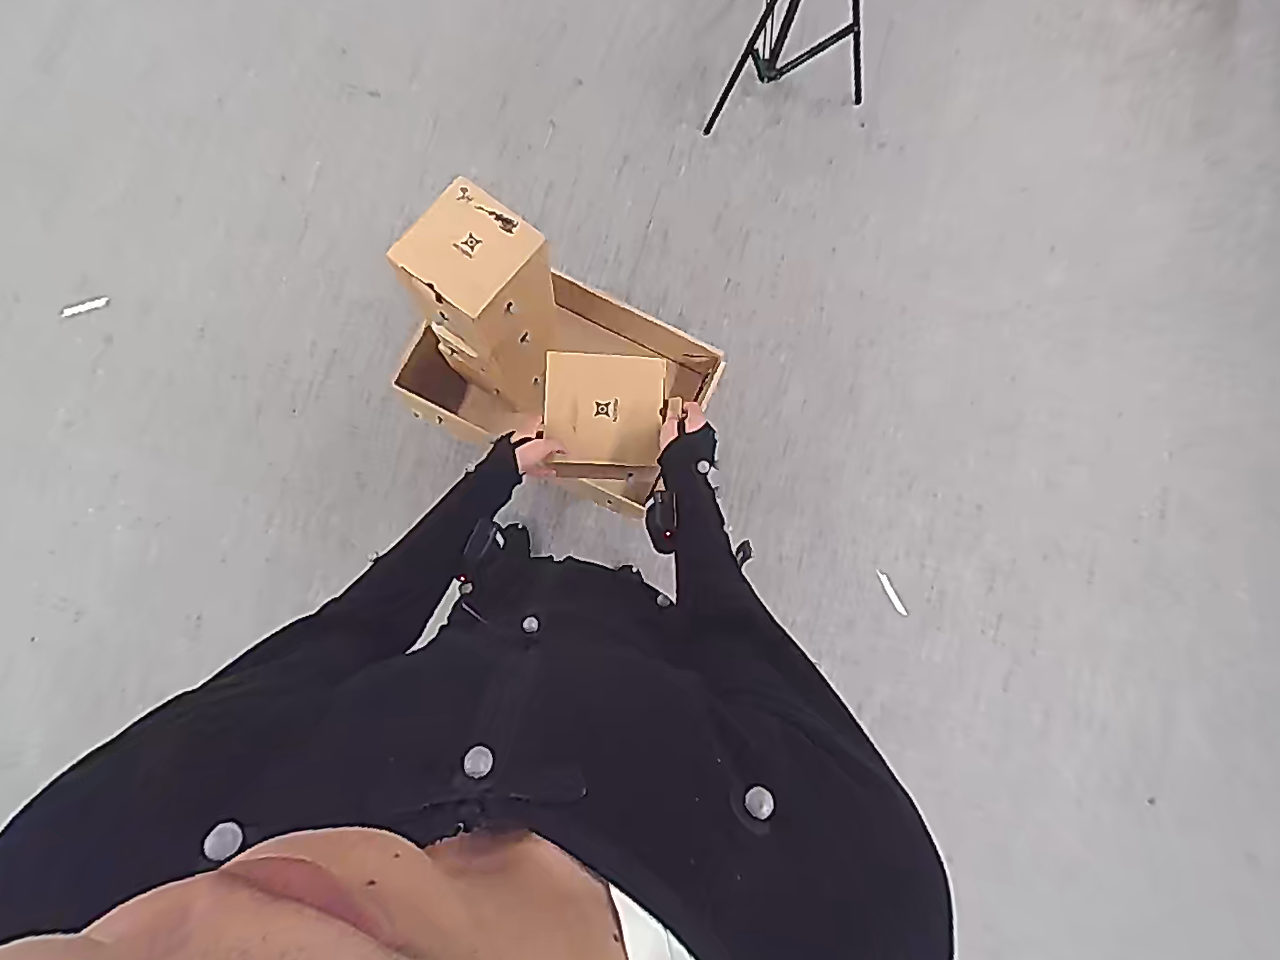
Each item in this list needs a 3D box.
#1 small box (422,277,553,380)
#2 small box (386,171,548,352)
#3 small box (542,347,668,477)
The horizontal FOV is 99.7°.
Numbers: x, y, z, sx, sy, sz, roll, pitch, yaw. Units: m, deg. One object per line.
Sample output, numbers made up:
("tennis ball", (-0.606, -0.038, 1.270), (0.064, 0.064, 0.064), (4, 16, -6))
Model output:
("small box", (-0.278, -0.321, 1.038), (0.168, 0.176, 0.179), (34, 79, 0))
("small box", (-0.263, -0.339, 0.875), (0.168, 0.176, 0.179), (37, 80, 1))
("small box", (-0.056, -0.098, 0.855), (0.179, 0.176, 0.168), (2, 83, -5))
